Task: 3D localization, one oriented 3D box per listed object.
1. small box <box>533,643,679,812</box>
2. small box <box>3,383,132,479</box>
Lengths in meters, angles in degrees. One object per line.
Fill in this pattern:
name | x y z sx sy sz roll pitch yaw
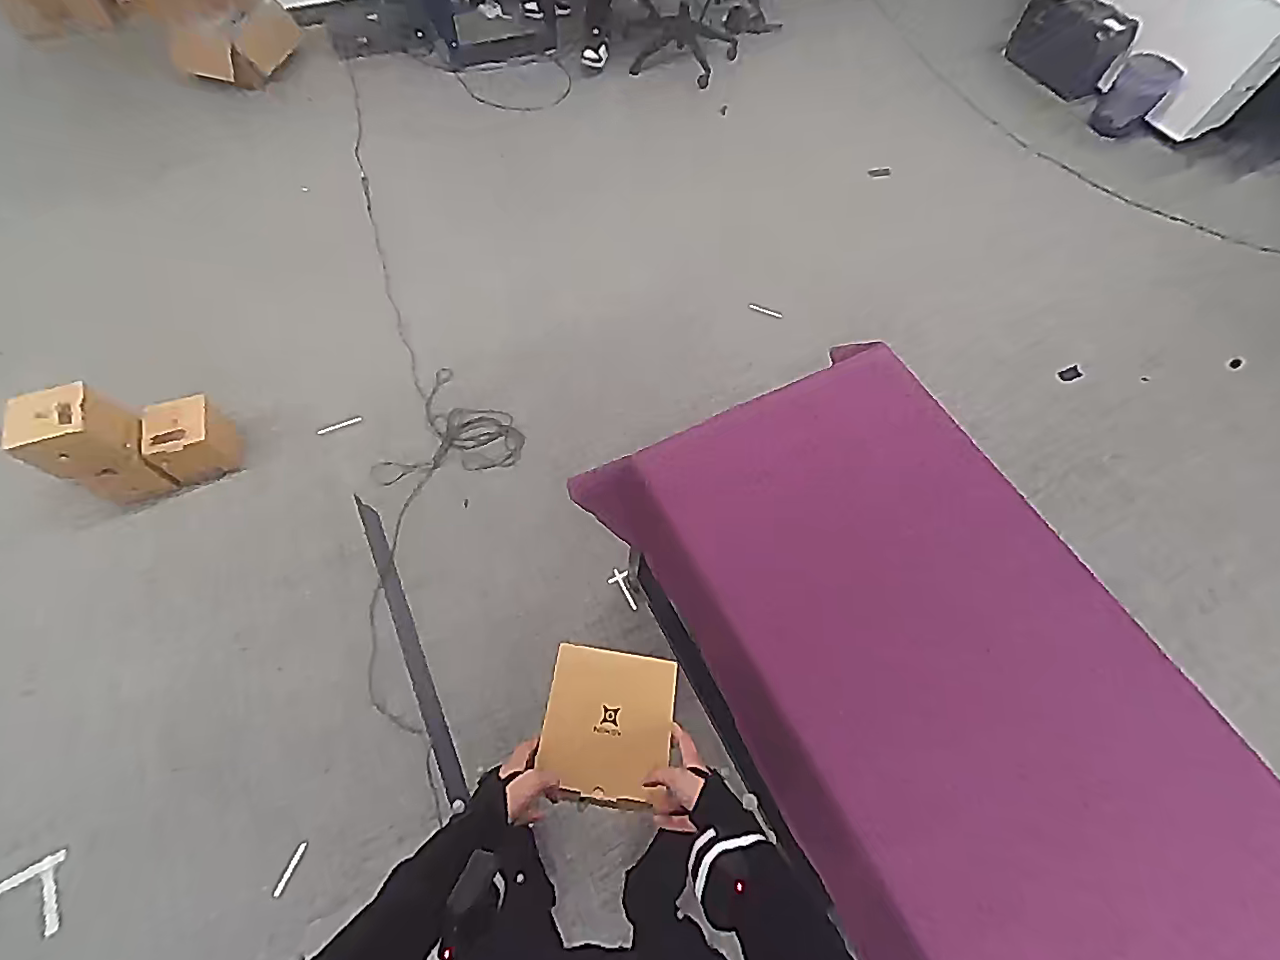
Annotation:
small box | -0.050 0.350 0.756 0.168 0.176 0.179 11 57 -3
small box | -1.508 -0.127 1.440 0.179 0.176 0.168 -19 65 -12
